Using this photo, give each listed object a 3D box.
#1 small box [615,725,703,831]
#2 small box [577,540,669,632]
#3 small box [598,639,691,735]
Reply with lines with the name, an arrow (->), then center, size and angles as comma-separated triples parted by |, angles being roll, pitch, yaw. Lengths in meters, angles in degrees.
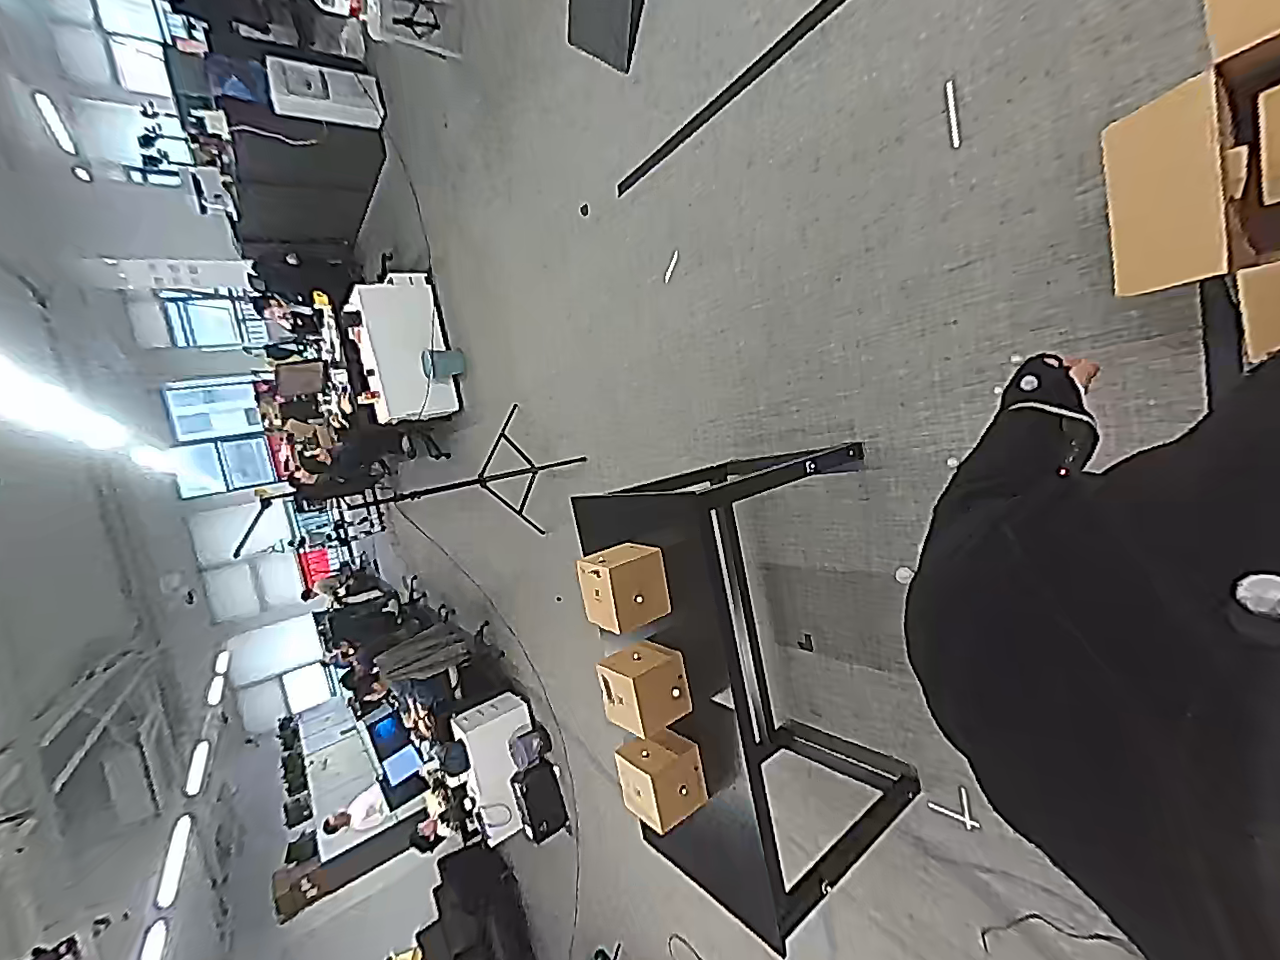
small box -> 0.059, 0.806, 1.489 | 0.179, 0.176, 0.168 | -4, 99, 55
small box -> -0.041, 0.273, 1.429 | 0.168, 0.176, 0.179 | 1, 104, 55
small box -> 0.013, 0.547, 1.458 | 0.179, 0.176, 0.168 | -4, 99, 54
